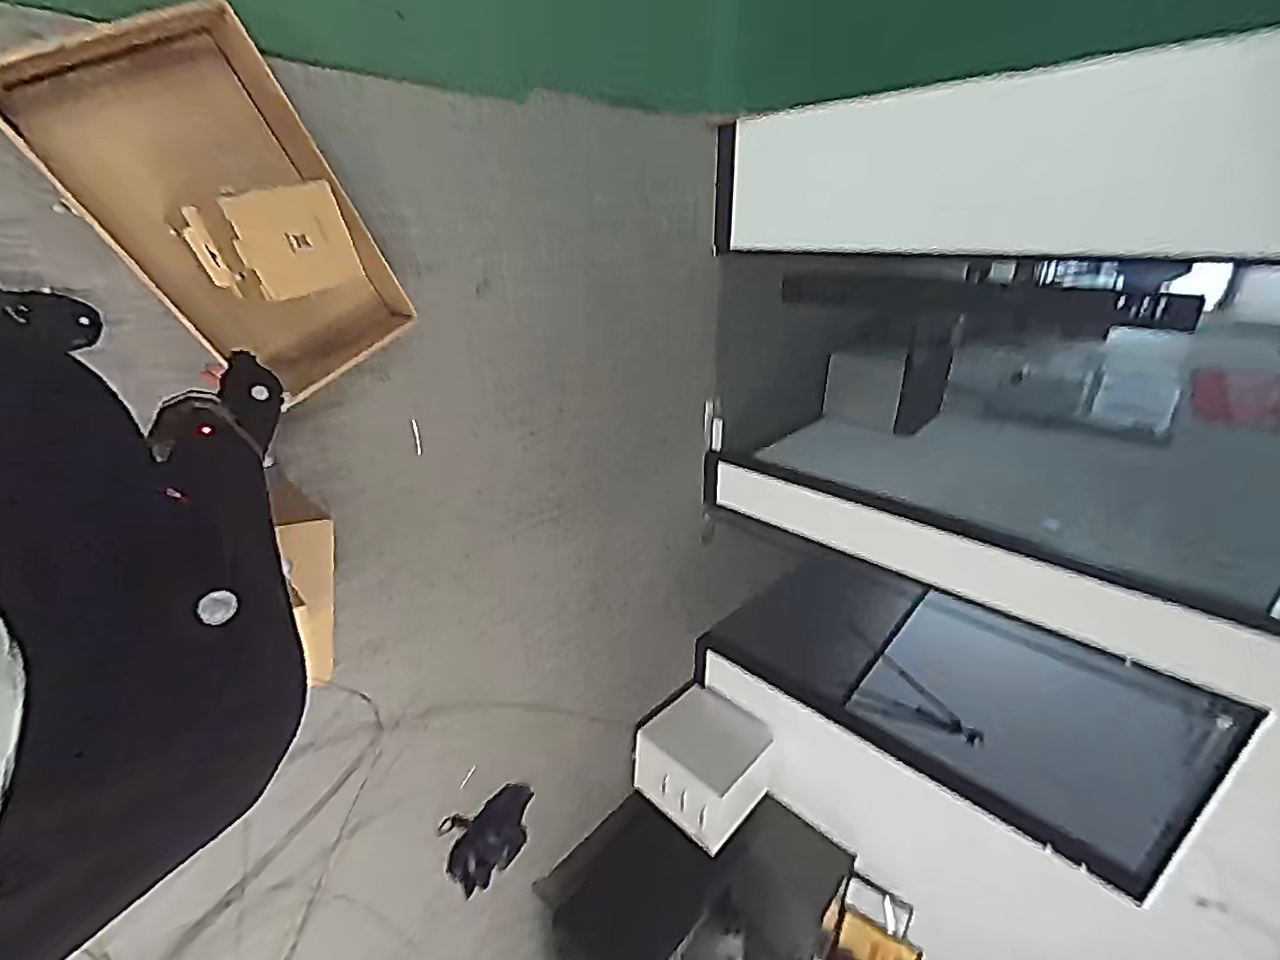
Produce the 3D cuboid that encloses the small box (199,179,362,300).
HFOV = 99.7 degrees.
[{"bbox_3d":[-0.651,-0.433,0.975,0.179,0.176,0.168,-39,133,-36],"label":"small box"}]

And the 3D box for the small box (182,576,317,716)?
[{"bbox_3d":[-0.746,0.301,1.034,0.168,0.176,0.179,-15,117,-45],"label":"small box"}]

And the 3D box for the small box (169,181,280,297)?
[{"bbox_3d":[-0.780,-0.471,1.066,0.179,0.176,0.168,-41,133,-33],"label":"small box"}]
